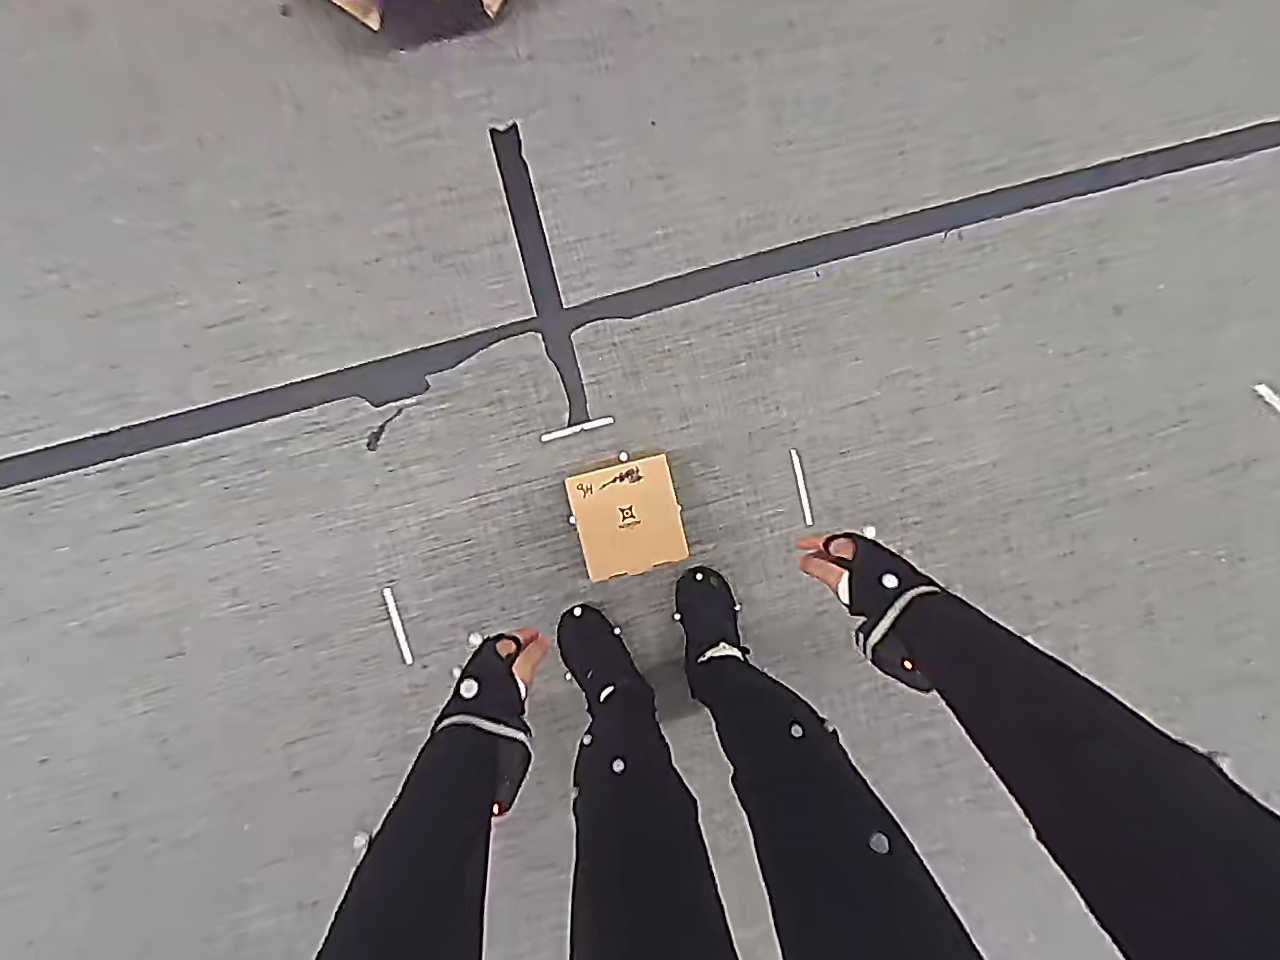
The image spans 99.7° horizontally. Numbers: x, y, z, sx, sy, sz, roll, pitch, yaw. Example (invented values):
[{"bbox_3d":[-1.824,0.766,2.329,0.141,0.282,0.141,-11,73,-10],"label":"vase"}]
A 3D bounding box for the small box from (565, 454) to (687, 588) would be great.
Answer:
[{"bbox_3d":[-0.025,0.061,0.927,0.168,0.176,0.179,-14,97,-3],"label":"small box"}]
